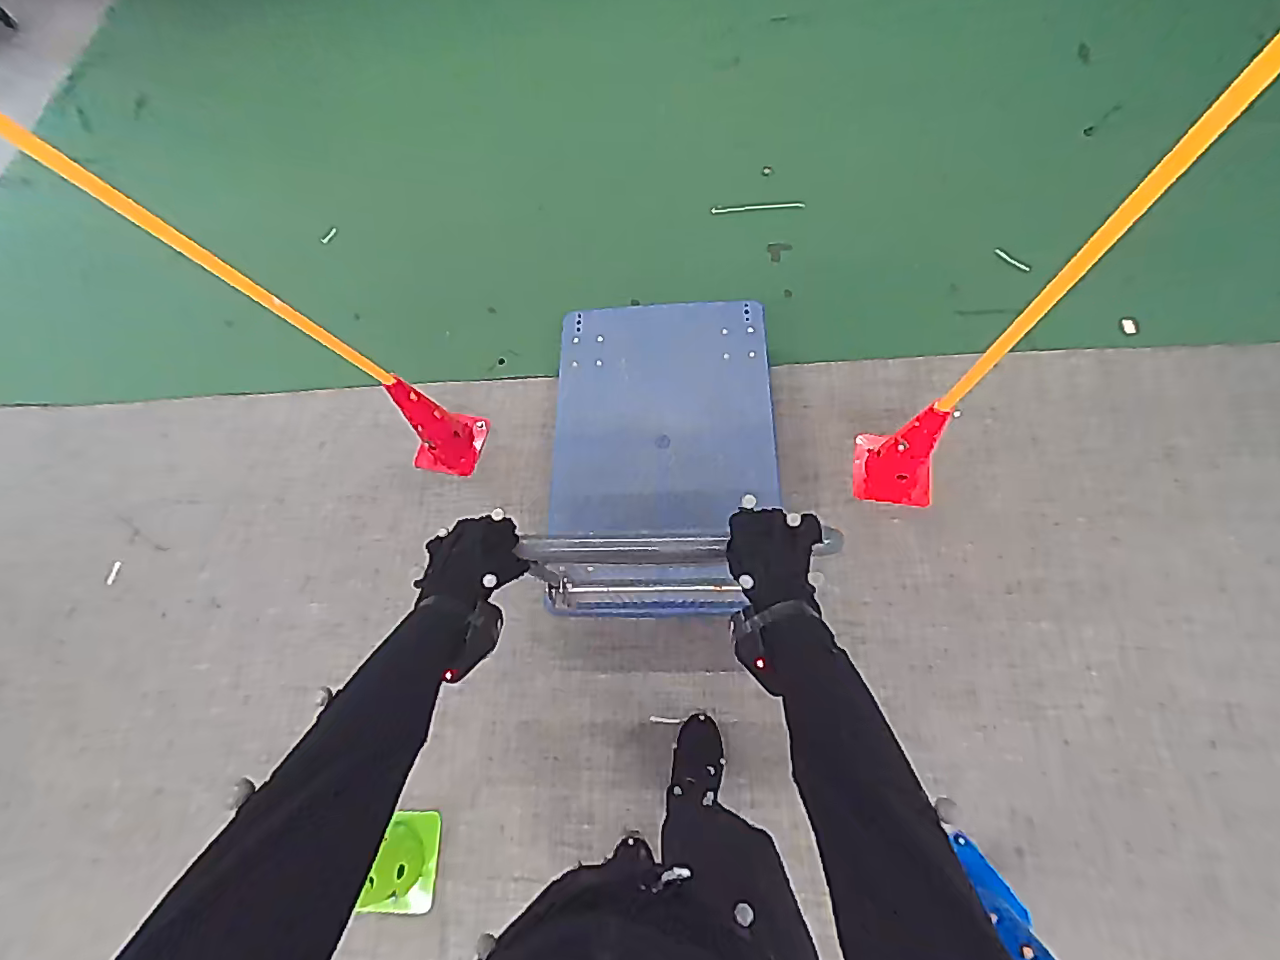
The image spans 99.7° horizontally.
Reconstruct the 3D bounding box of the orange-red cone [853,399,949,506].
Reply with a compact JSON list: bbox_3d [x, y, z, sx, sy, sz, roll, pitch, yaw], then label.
[{"bbox_3d":[0.666,-0.092,1.316,0.198,0.360,0.199,8,70,11],"label":"orange-red cone"}]
